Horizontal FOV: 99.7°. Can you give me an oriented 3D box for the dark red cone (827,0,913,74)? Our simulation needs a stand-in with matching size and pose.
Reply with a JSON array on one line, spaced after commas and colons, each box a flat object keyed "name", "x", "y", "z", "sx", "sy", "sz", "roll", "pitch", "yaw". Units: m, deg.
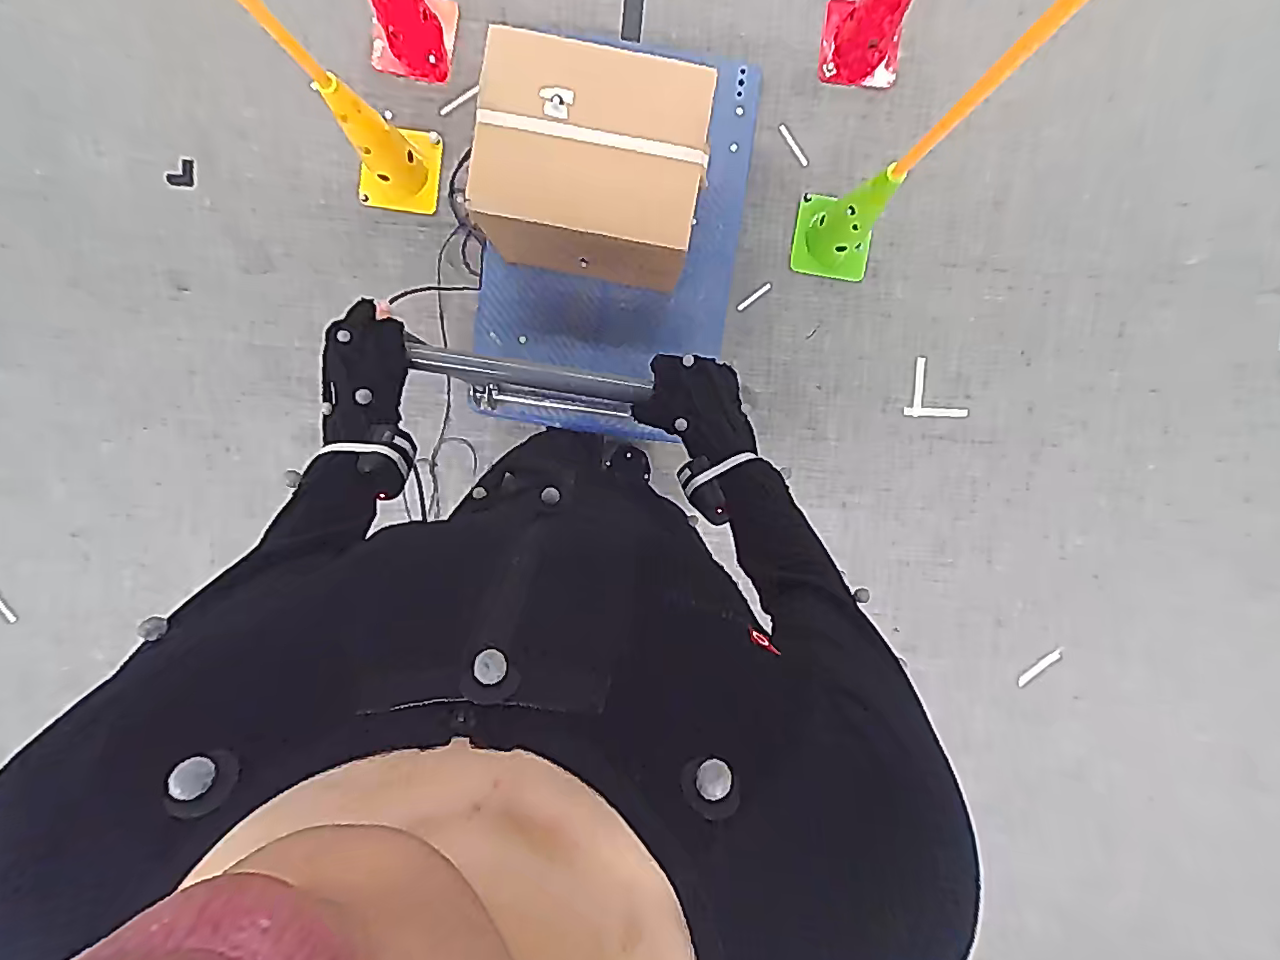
[{"name": "dark red cone", "x": 0.573, "y": -1.110, "z": 1.184, "sx": 0.201, "sy": 0.394, "sz": 0.202, "roll": 4, "pitch": 95, "yaw": -3}]

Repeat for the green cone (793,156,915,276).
[{"name": "green cone", "x": 0.513, "y": -0.632, "z": 1.243, "sx": 0.202, "sy": 0.368, "sz": 0.200, "roll": 8, "pitch": 95, "yaw": -2}]

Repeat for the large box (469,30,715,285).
[{"name": "large box", "x": -0.084, "y": -0.614, "z": 1.099, "sx": 0.408, "sy": 0.320, "sz": 0.320, "roll": 10, "pitch": 95, "yaw": -1}]

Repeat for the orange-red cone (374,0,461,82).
[{"name": "orange-red cone", "x": -0.560, "y": -1.116, "z": 1.199, "sx": 0.198, "sy": 0.360, "sz": 0.199, "roll": 12, "pitch": 94, "yaw": -2}]
